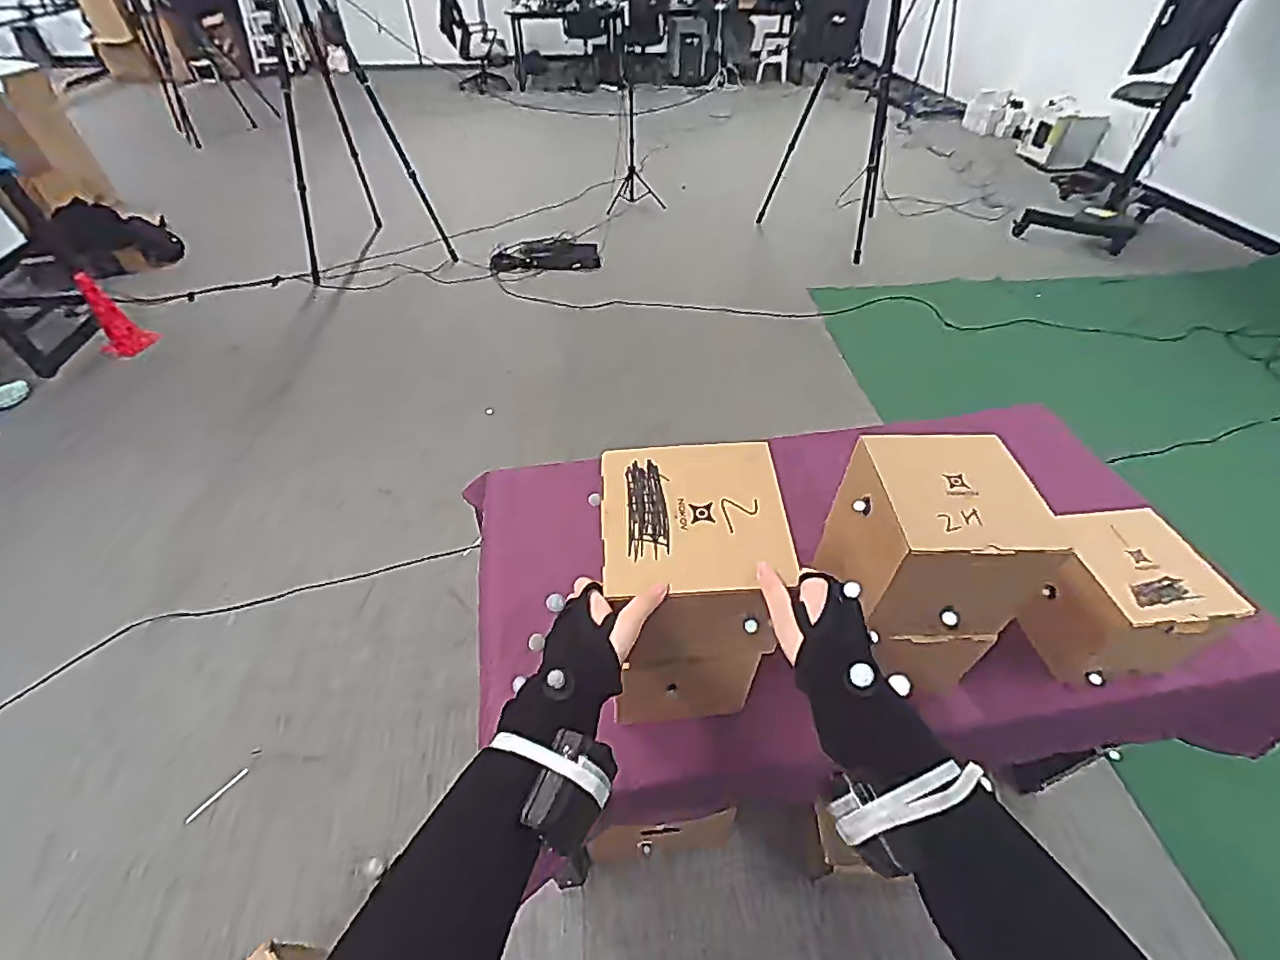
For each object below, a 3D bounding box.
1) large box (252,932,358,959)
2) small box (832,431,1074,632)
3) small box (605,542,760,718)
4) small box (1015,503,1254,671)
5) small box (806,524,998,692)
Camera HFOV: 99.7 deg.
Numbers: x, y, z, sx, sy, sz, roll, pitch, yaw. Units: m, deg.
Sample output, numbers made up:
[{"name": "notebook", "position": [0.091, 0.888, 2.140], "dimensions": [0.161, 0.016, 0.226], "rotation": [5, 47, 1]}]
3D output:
[{"name": "large box", "position": [-0.606, 1.051, 0.851], "dimensions": [0.320, 0.320, 0.408], "rotation": [28, 52, 23]}, {"name": "small box", "position": [0.344, 0.060, 0.643], "dimensions": [0.168, 0.176, 0.179], "rotation": [-1, 47, 1]}, {"name": "small box", "position": [0.050, 0.206, 0.733], "dimensions": [0.179, 0.176, 0.168], "rotation": [-5, 47, -3]}, {"name": "small box", "position": [0.665, 0.157, 0.771], "dimensions": [0.168, 0.176, 0.179], "rotation": [-5, 46, -4]}, {"name": "small box", "position": [0.345, 0.179, 0.758], "dimensions": [0.168, 0.176, 0.179], "rotation": [-1, 47, 0]}]
